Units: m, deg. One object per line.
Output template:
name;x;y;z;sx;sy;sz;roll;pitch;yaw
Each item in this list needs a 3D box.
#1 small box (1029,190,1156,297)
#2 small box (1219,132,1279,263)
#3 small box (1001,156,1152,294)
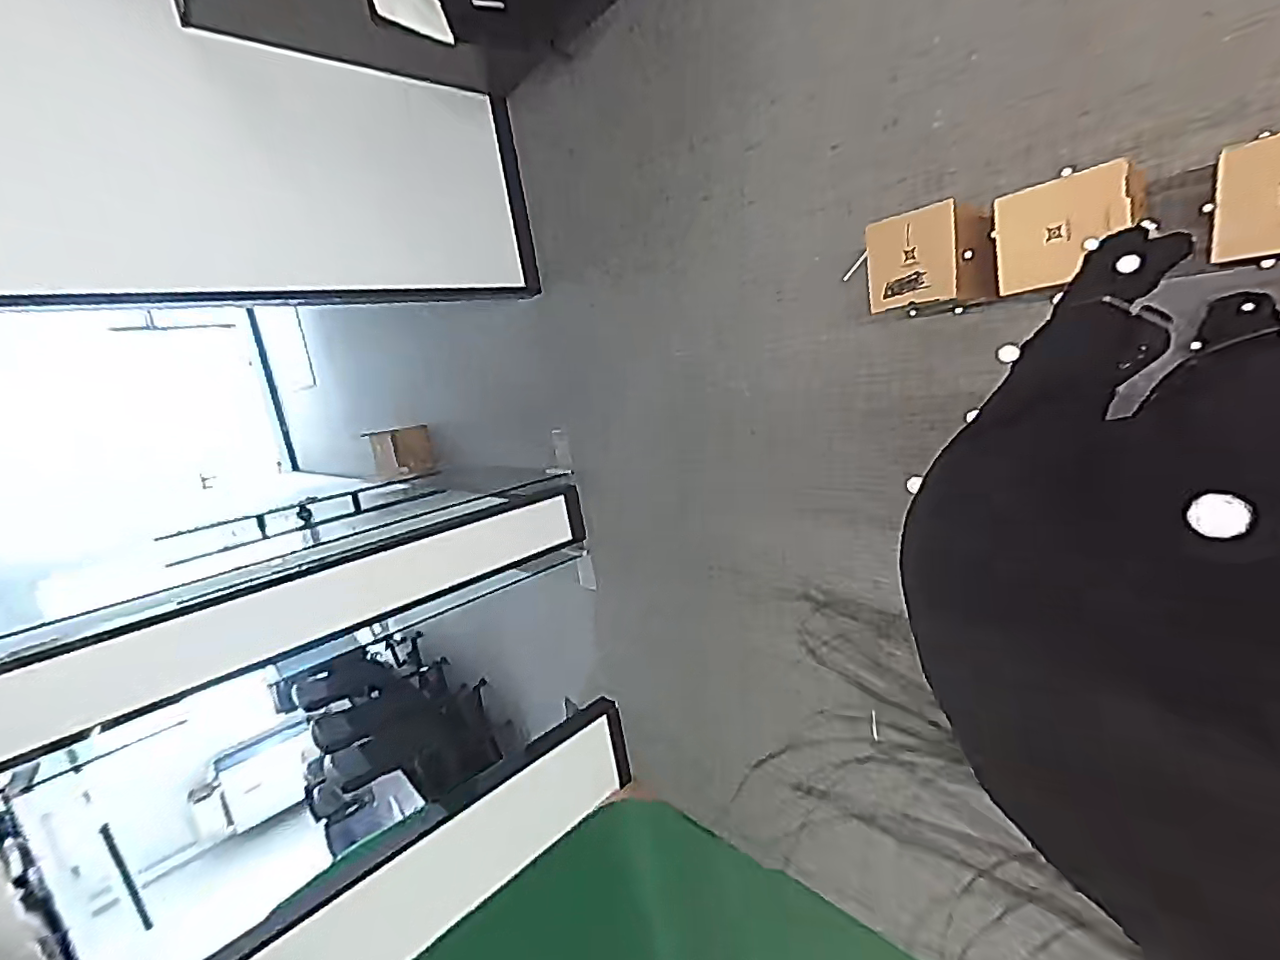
small box;0.866;-0.457;1.039;0.168;0.176;0.179;2;104;50
small box;1.039;-0.450;0.849;0.168;0.176;0.179;6;108;48
small box;0.751;-0.423;0.930;0.179;0.176;0.168;-1;104;48
